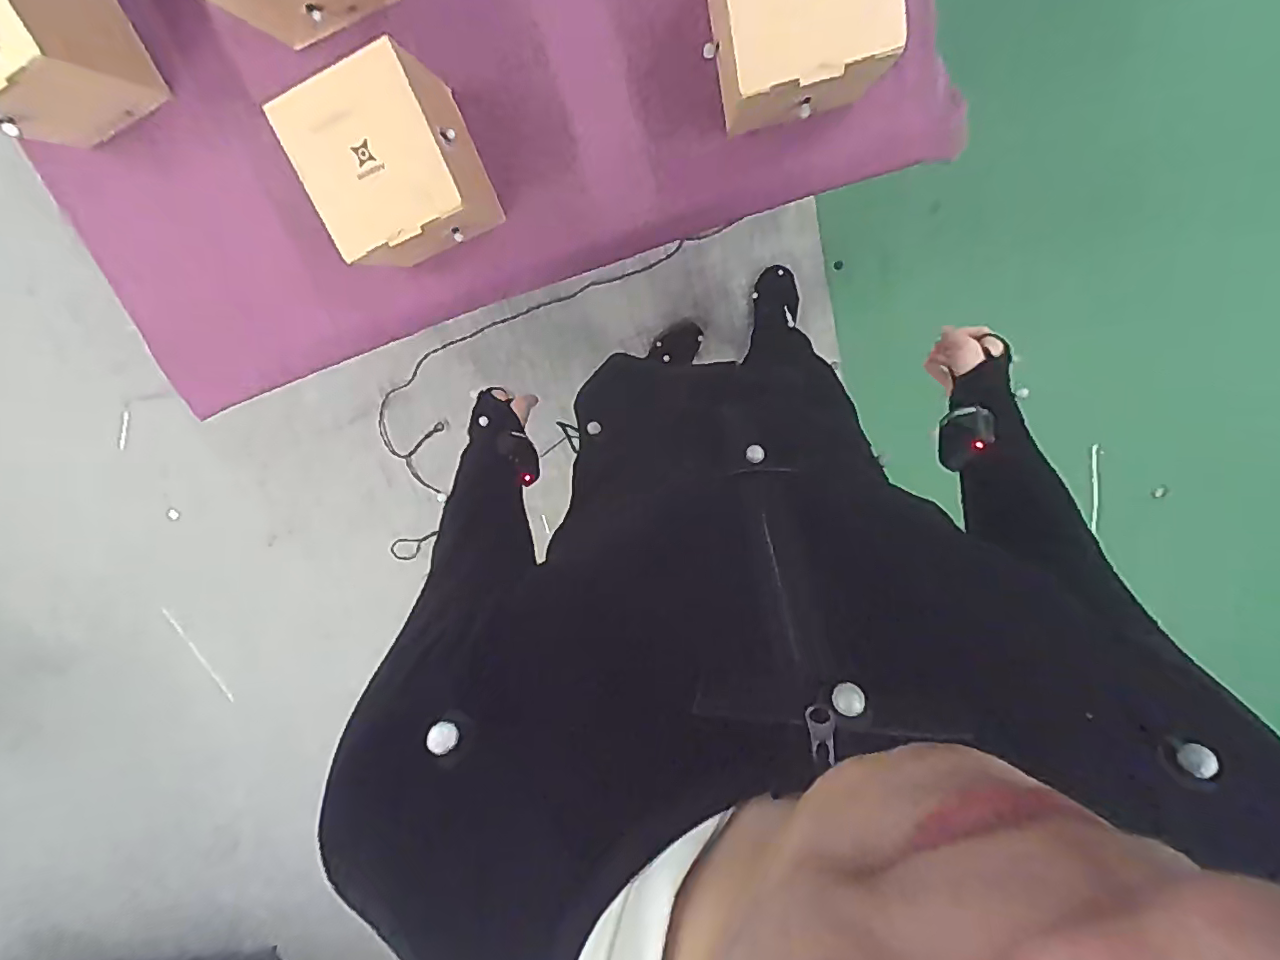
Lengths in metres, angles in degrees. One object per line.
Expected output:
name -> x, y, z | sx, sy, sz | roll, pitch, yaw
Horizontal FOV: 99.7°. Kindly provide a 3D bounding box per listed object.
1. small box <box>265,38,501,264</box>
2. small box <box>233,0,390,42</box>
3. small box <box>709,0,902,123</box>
small box -> -0.299, -0.387, 0.674 | 0.168, 0.176, 0.179 | -19, 108, 11
small box -> -0.404, -0.630, 0.583 | 0.168, 0.176, 0.179 | -16, 111, 10
small box -> 0.167, -0.512, 0.583 | 0.168, 0.176, 0.179 | -11, 110, 9
